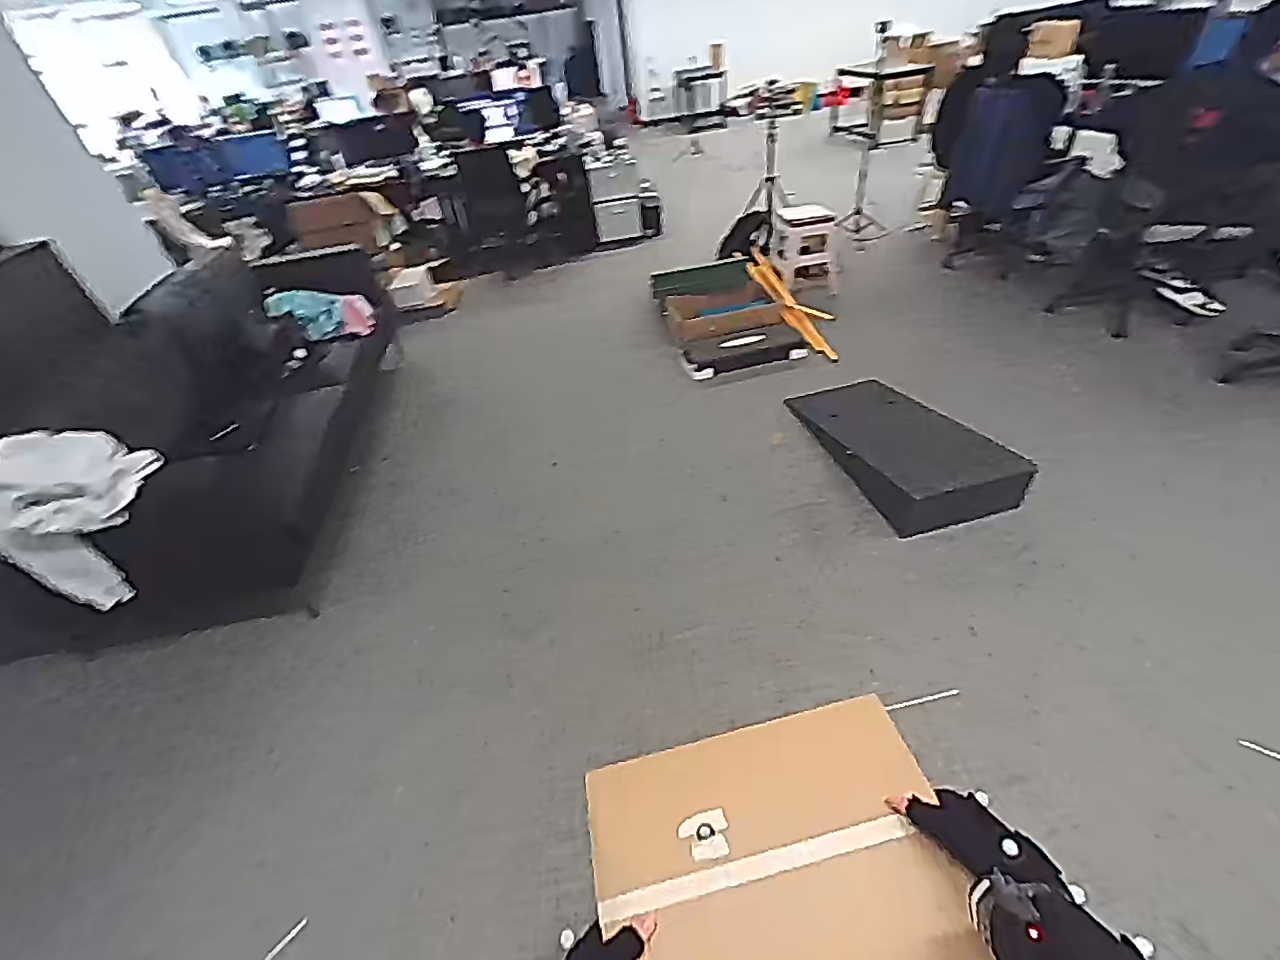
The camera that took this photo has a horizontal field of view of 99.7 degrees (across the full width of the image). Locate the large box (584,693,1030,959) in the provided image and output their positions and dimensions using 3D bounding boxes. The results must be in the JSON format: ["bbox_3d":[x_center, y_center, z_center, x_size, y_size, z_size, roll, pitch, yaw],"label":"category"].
[{"bbox_3d":[0.177,0.536,0.680,0.408,0.320,0.320,-16,37,-1],"label":"large box"}]
